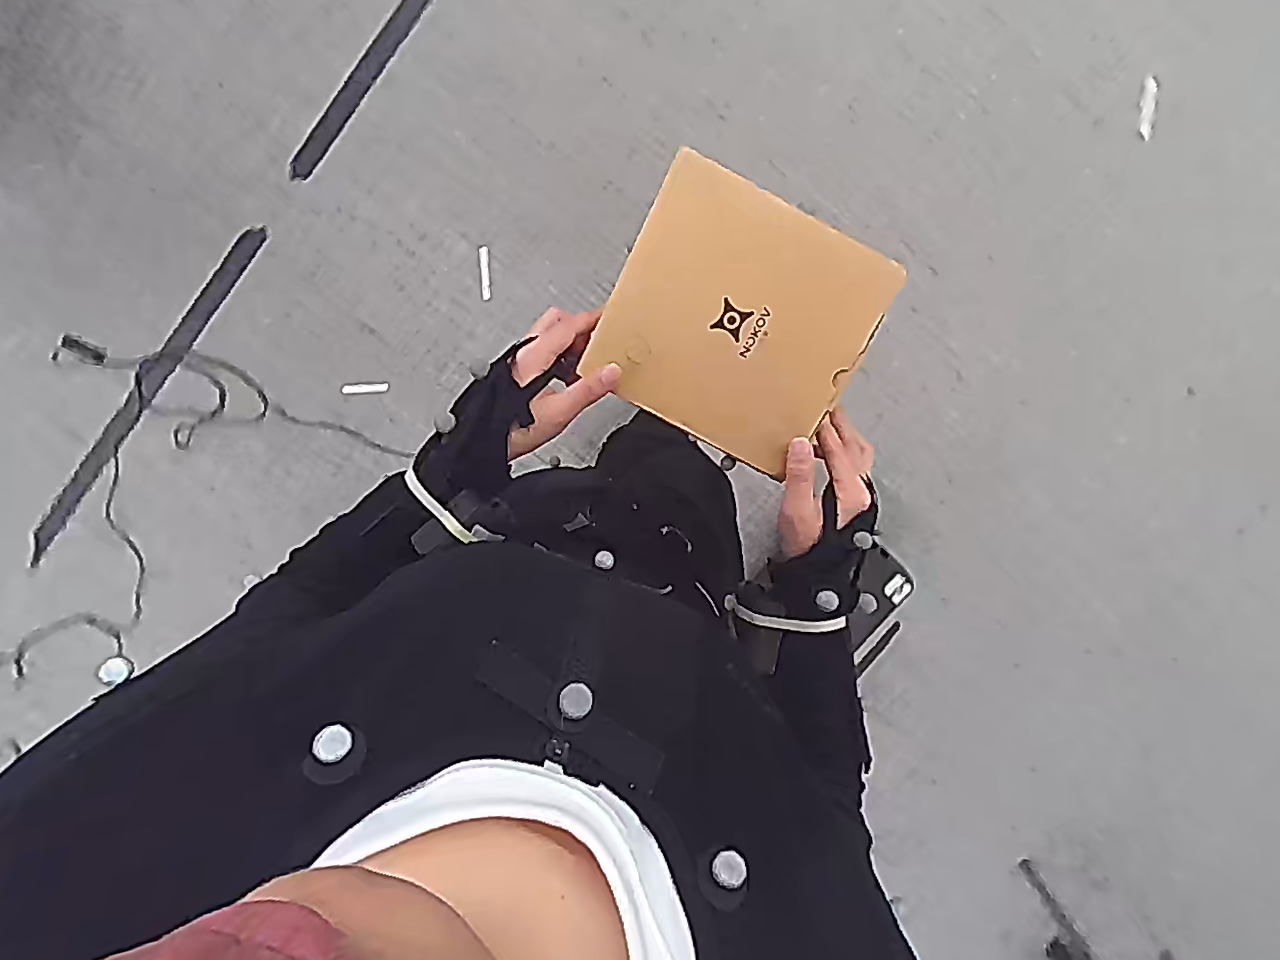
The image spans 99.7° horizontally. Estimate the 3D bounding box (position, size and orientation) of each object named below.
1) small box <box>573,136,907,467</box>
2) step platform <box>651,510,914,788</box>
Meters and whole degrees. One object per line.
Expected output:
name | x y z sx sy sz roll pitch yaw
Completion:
small box | 0.068 -0.131 0.445 0.179 0.176 0.168 26 103 -4
step platform | 0.335 0.414 1.340 0.286 0.204 0.684 39 95 -8
